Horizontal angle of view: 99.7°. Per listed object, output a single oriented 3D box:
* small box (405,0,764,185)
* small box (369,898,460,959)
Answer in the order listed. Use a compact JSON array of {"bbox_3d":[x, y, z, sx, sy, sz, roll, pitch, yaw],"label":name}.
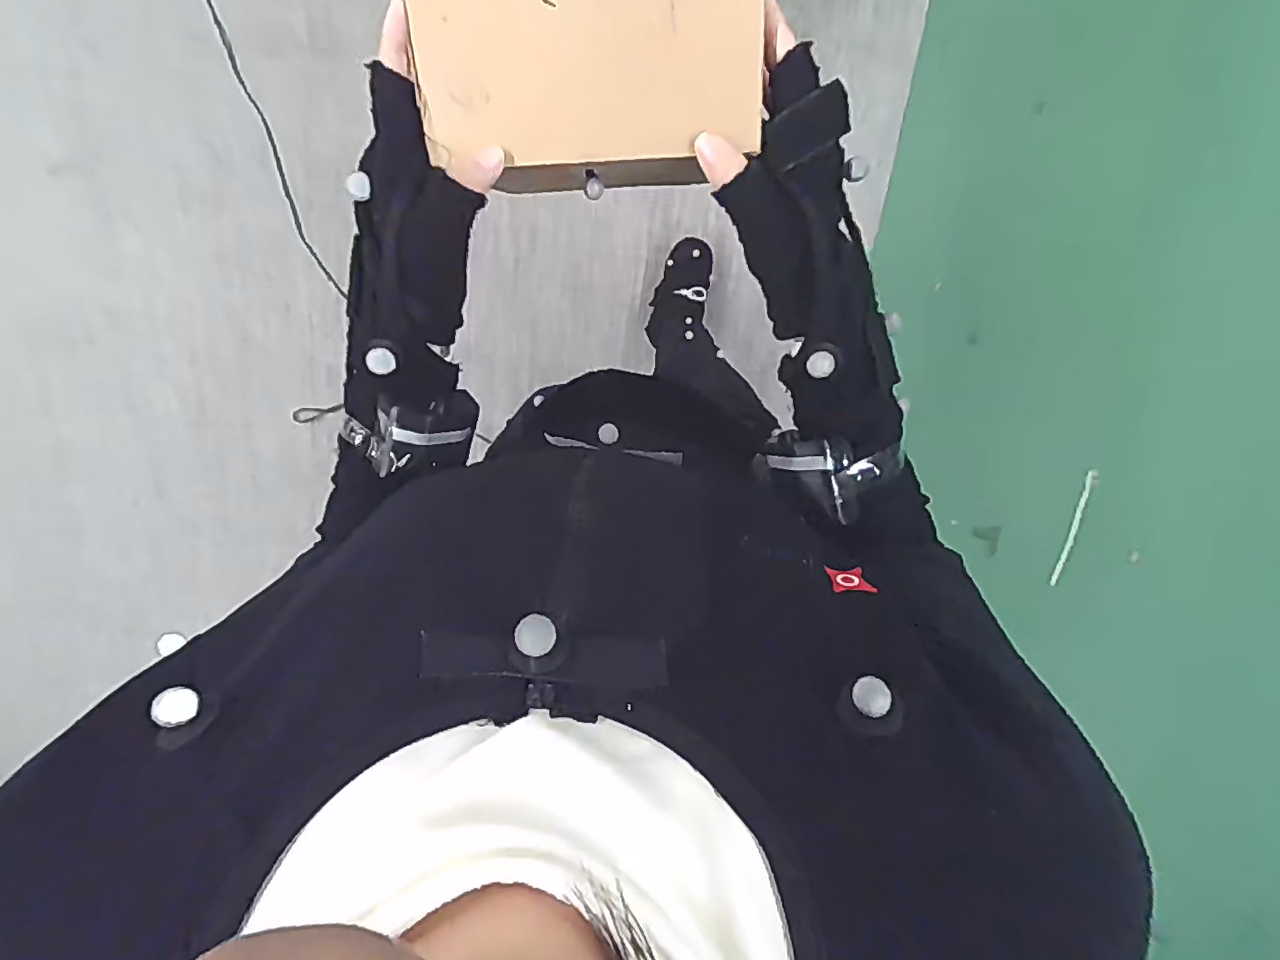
[{"bbox_3d":[-0.024,-0.280,0.323,0.179,0.176,0.168,-2,115,4],"label":"small box"},{"bbox_3d":[-0.554,1.179,1.331,0.168,0.176,0.179,5,102,1],"label":"small box"}]
